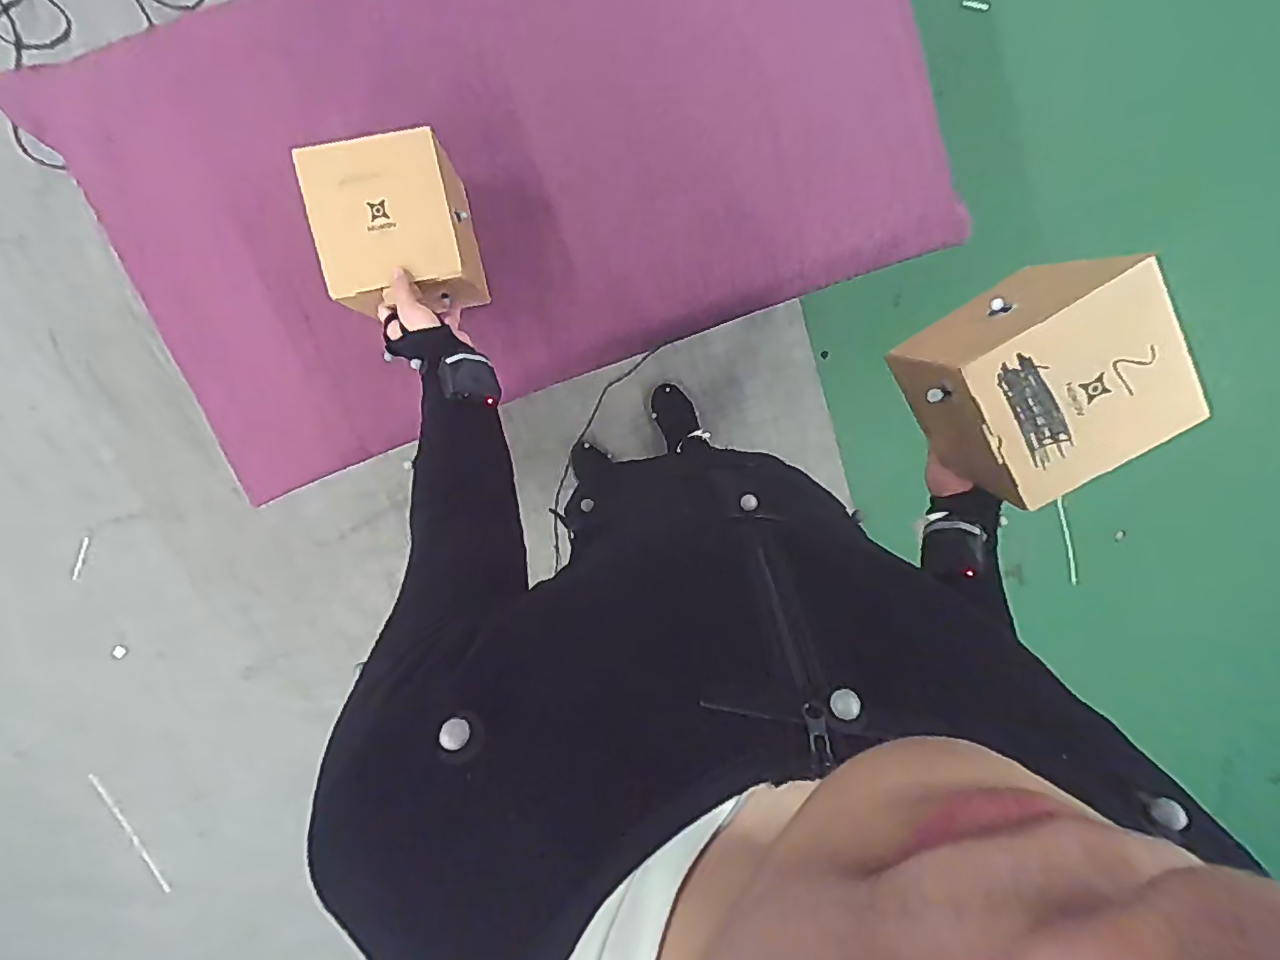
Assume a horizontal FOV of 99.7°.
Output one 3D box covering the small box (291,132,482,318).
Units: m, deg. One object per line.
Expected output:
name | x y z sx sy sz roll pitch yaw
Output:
small box | -0.323 -0.326 0.729 0.168 0.176 0.179 -11 97 -4
